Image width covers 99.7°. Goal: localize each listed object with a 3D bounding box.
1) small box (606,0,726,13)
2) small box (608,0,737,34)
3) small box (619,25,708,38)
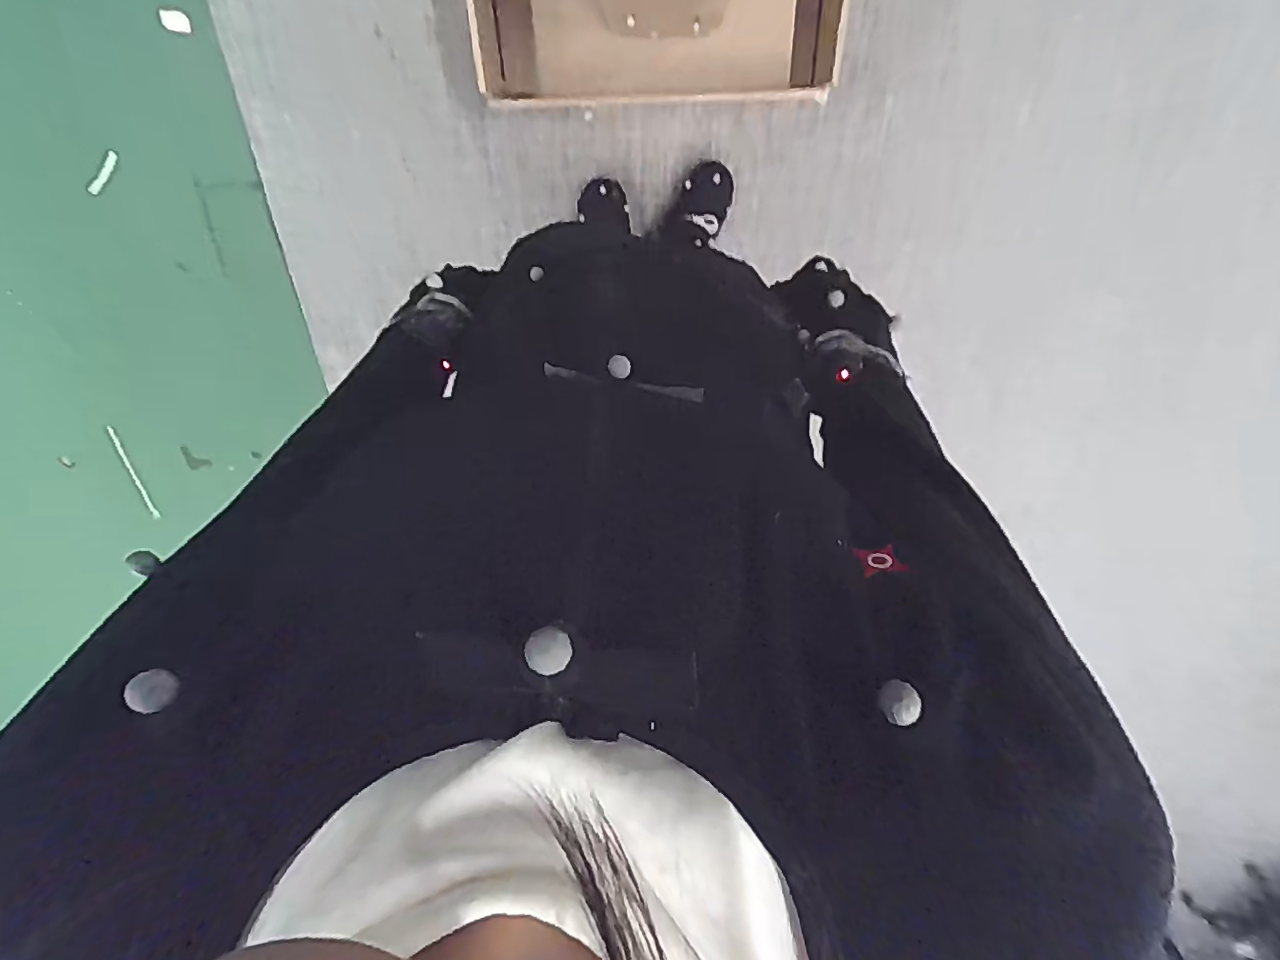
[{"bbox_3d":[0.032,-0.668,0.626,0.168,0.176,0.179,-1,120,2],"label":"small box"},{"bbox_3d":[0.039,-0.745,0.753,0.179,0.176,0.168,-4,121,3],"label":"small box"},{"bbox_3d":[0.038,-0.856,0.897,0.179,0.176,0.168,-2,121,2],"label":"small box"}]
